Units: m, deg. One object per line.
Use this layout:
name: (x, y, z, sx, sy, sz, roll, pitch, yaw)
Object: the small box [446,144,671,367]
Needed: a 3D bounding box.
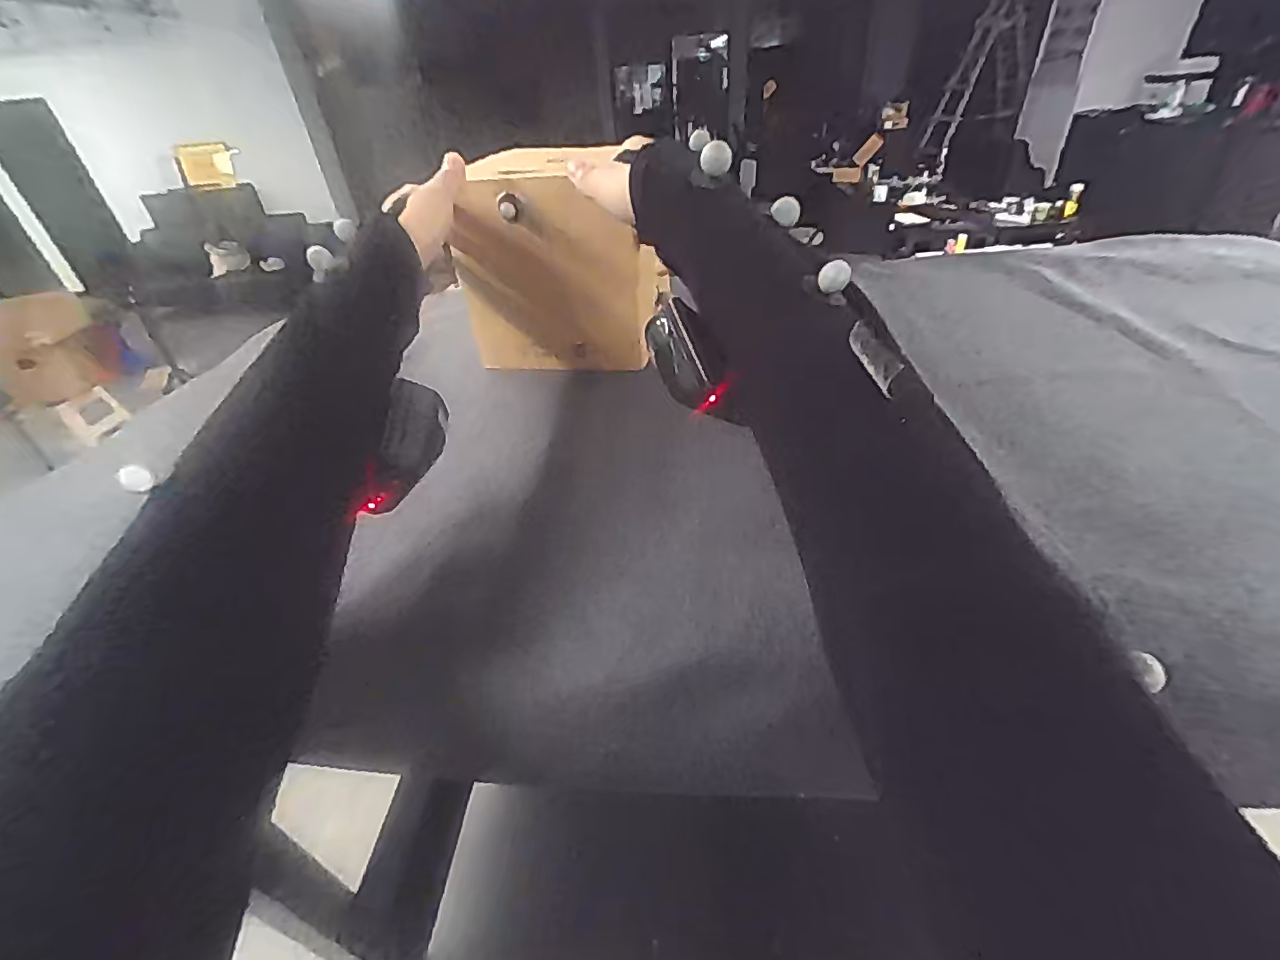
small box: (-0.061, -0.227, 0.542, 0.168, 0.176, 0.179, 3, 38, 11)
